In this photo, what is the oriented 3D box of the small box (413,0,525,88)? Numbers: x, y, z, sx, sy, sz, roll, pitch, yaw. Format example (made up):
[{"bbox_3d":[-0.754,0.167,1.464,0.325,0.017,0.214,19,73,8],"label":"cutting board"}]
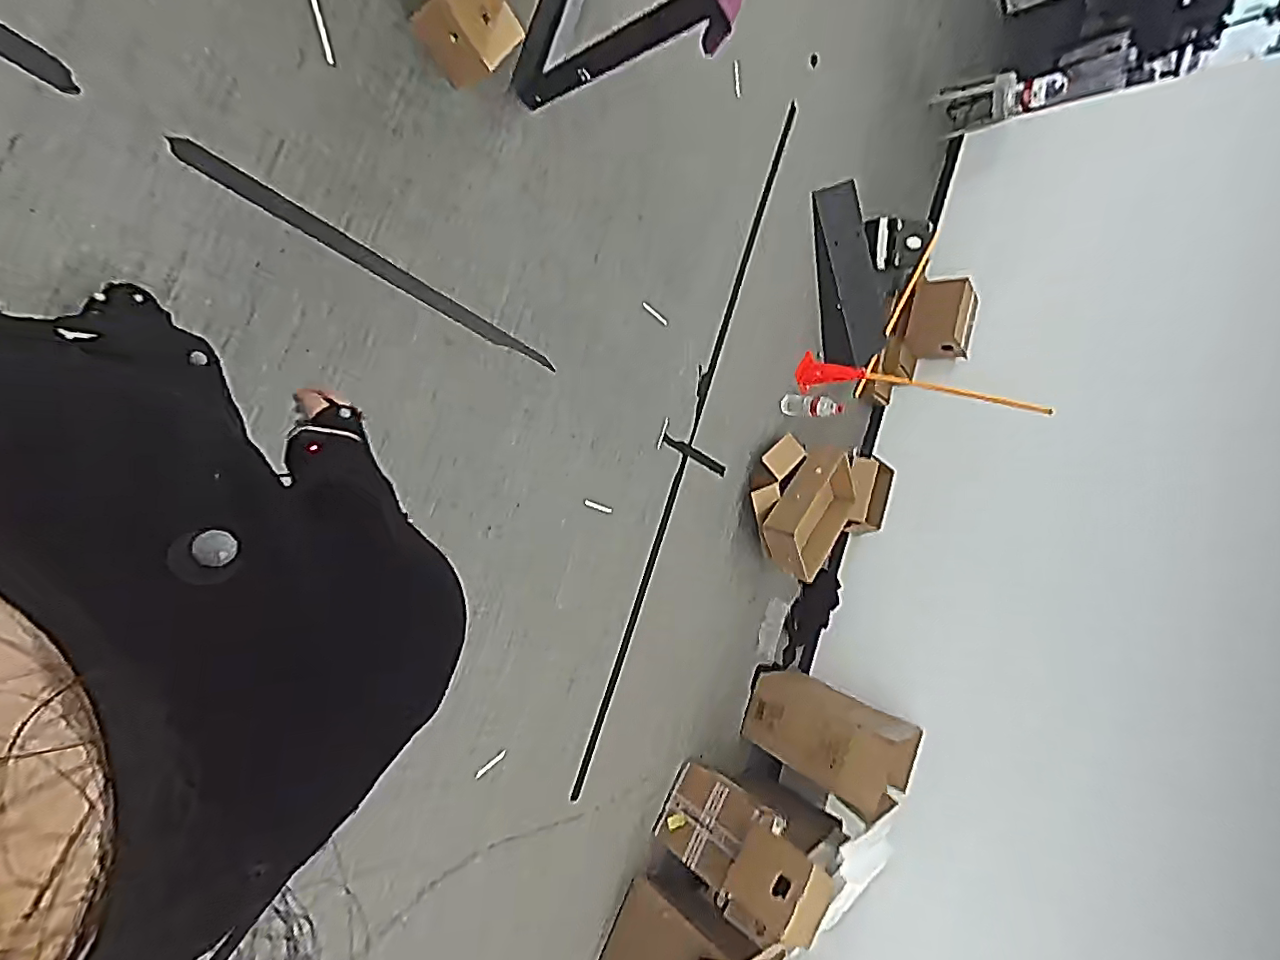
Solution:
[{"bbox_3d":[-0.438,-1.146,1.381,0.179,0.176,0.168,46,67,-41],"label":"small box"}]
